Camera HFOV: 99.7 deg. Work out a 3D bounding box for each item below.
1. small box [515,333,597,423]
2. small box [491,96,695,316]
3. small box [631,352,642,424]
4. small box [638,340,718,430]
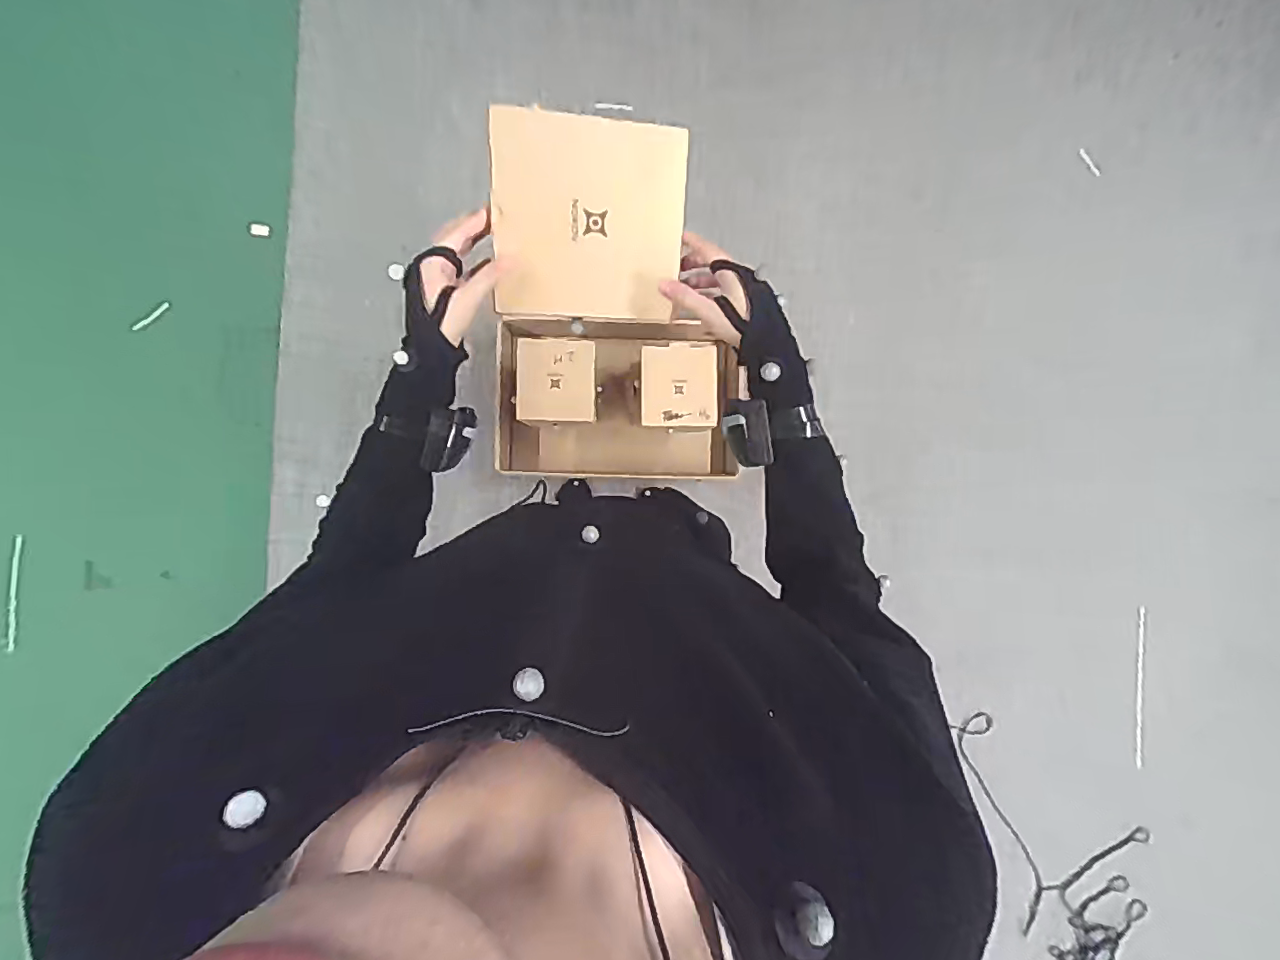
[{"bbox_3d":[-0.184,-0.224,1.226,0.168,0.176,0.179,2,92,-4],"label":"small box"},{"bbox_3d":[-0.057,-0.261,0.552,0.179,0.176,0.168,-2,109,-12],"label":"small box"},{"bbox_3d":[0.067,-0.238,1.403,0.179,0.176,0.168,-4,91,-2],"label":"small box"},{"bbox_3d":[0.082,-0.212,1.241,0.168,0.176,0.179,0,90,-2],"label":"small box"}]
